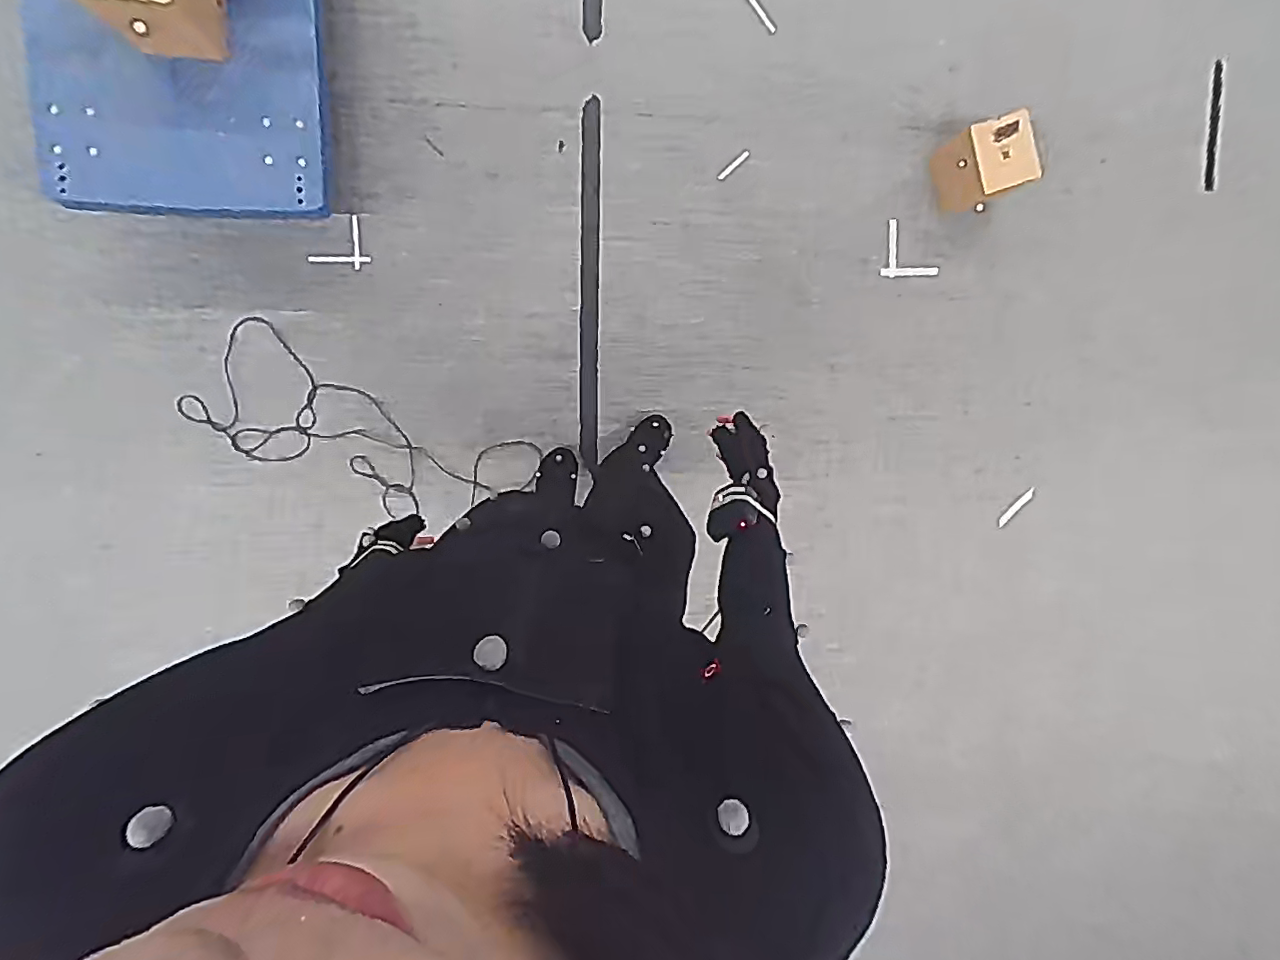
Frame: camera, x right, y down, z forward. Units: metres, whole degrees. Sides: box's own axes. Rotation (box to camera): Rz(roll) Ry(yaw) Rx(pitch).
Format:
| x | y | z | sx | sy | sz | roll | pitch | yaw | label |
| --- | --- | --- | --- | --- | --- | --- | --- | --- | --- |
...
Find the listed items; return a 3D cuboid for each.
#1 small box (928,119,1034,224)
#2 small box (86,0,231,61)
| x | y | z | sx | sy | sz | roll | pitch | yaw | label |
| --- | --- | --- | --- | --- | --- | --- | --- | --- | --- |
| 0.922 | -0.834 | 1.477 | 0.168 | 0.176 | 0.179 | -18 | 97 | -4 | small box |
| -0.958 | -0.975 | 1.072 | 0.179 | 0.176 | 0.168 | 2 | 96 | -5 | small box |
